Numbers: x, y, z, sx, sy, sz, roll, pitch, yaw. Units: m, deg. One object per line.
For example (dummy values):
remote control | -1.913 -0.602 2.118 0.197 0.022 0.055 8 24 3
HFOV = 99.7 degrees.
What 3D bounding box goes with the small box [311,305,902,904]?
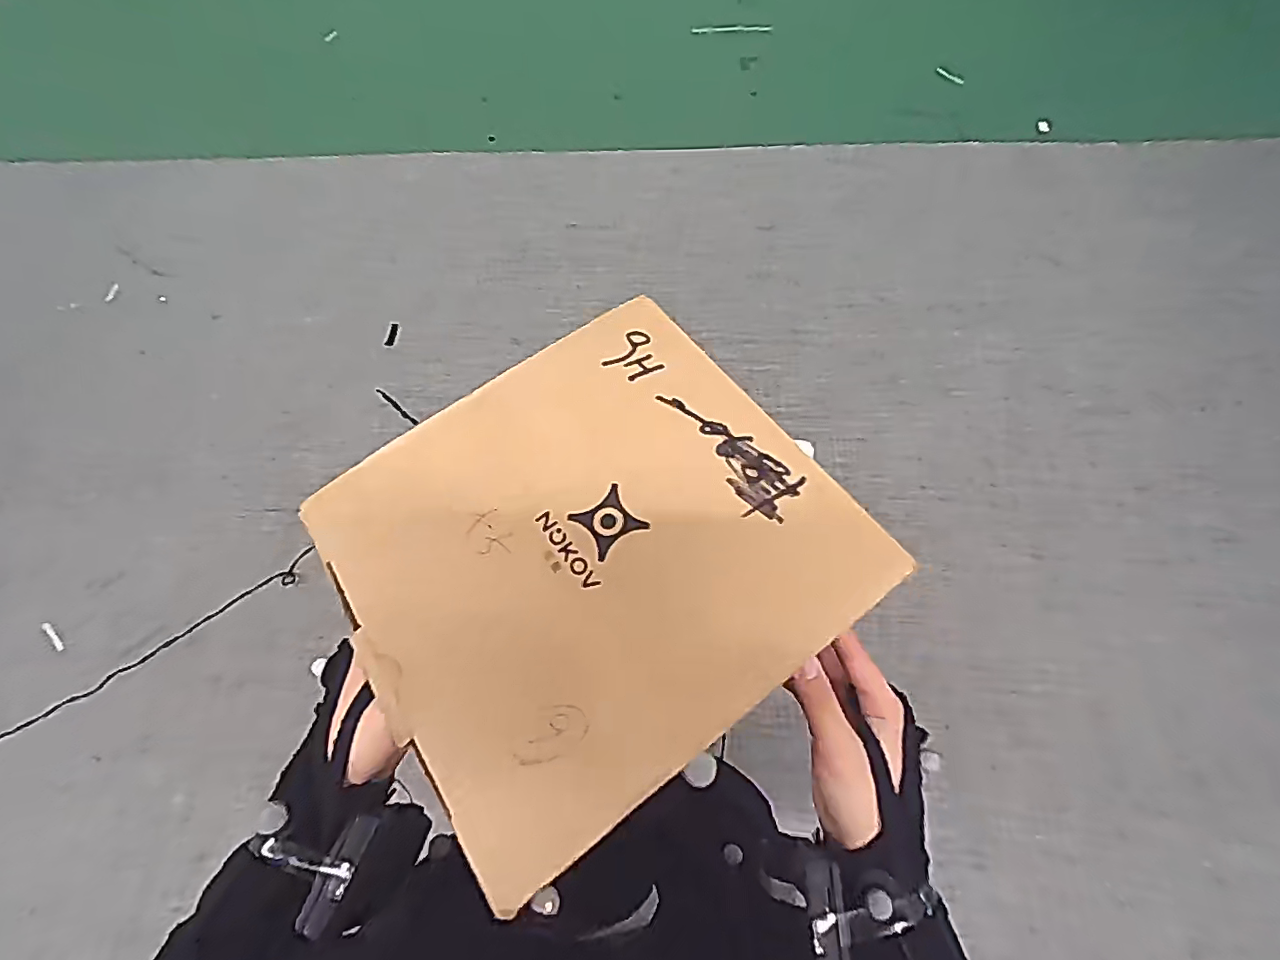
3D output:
small box | -0.013 0.057 0.277 0.179 0.176 0.168 -35 67 -11
